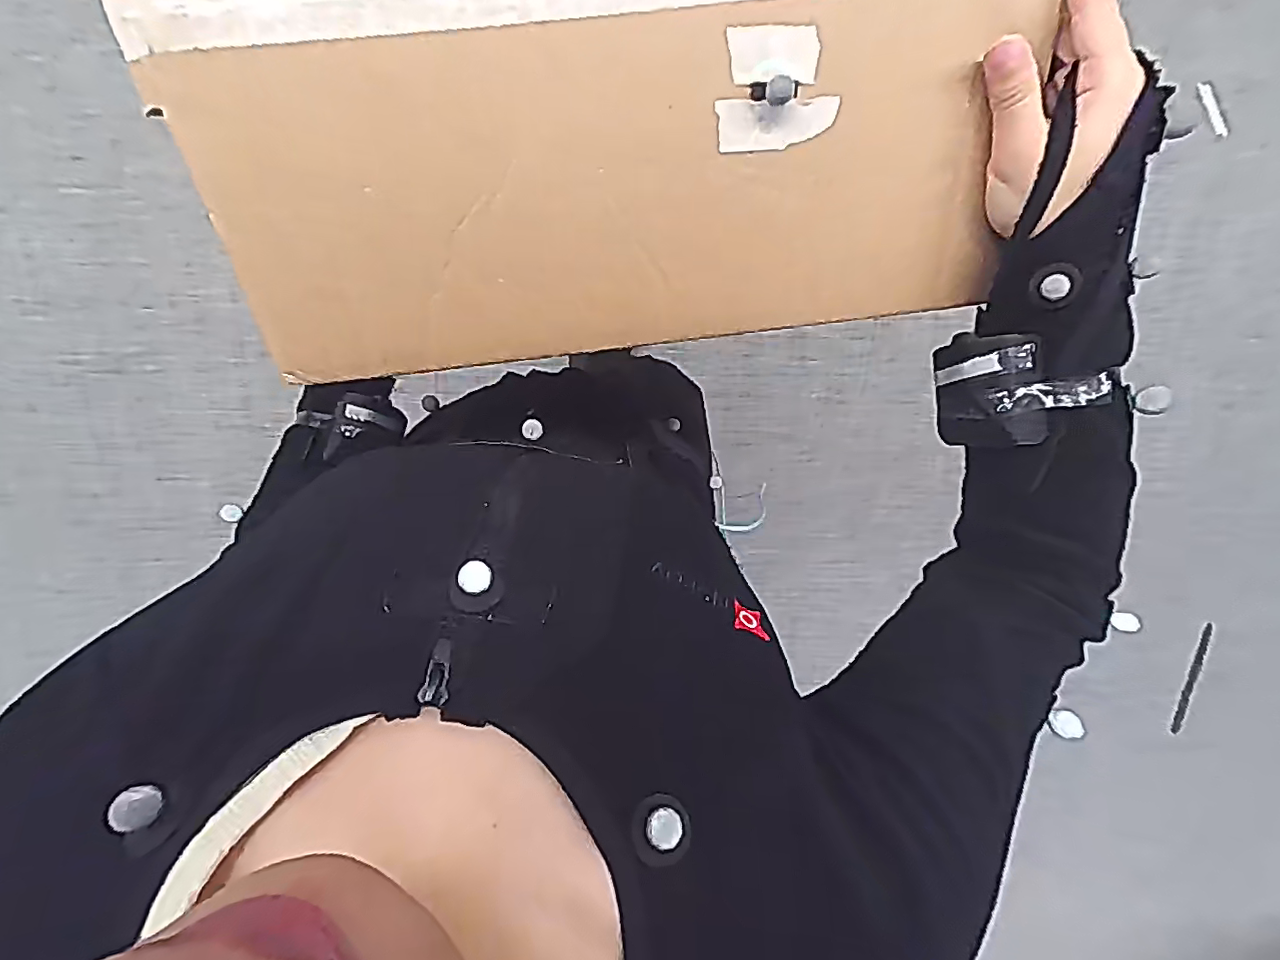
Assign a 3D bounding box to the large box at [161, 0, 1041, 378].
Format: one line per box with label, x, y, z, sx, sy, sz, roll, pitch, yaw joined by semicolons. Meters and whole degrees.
large box;-0.025;-0.288;0.372;0.408;0.320;0.320;-9;120;-4
